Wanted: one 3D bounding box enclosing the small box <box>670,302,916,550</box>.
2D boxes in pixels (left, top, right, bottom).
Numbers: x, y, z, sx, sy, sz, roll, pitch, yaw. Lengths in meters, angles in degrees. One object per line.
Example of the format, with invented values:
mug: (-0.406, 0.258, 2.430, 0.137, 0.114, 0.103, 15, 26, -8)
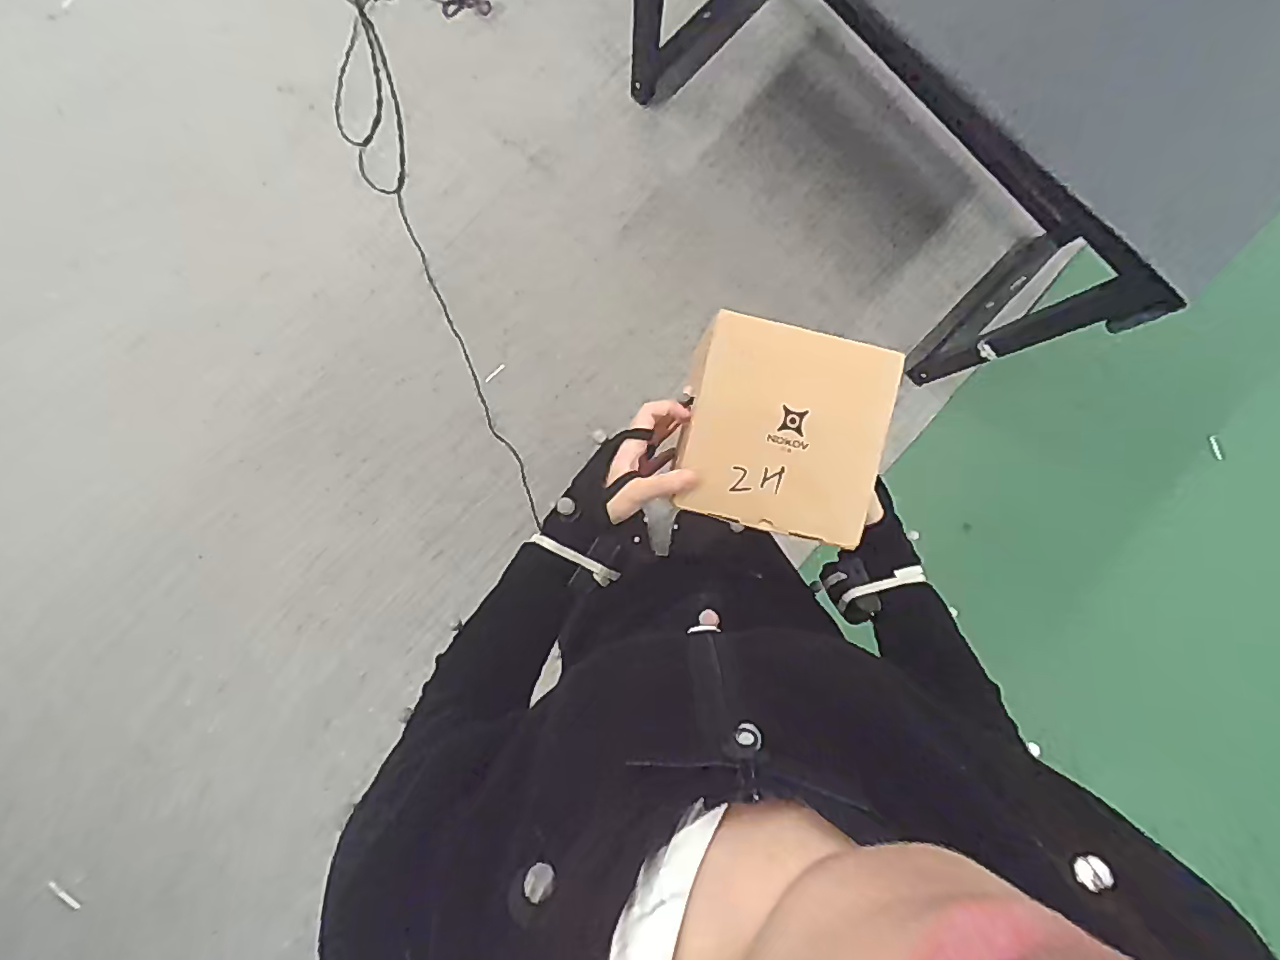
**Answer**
small box: (0.130, -0.045, 0.530, 0.168, 0.176, 0.179, 14, 90, -2)
